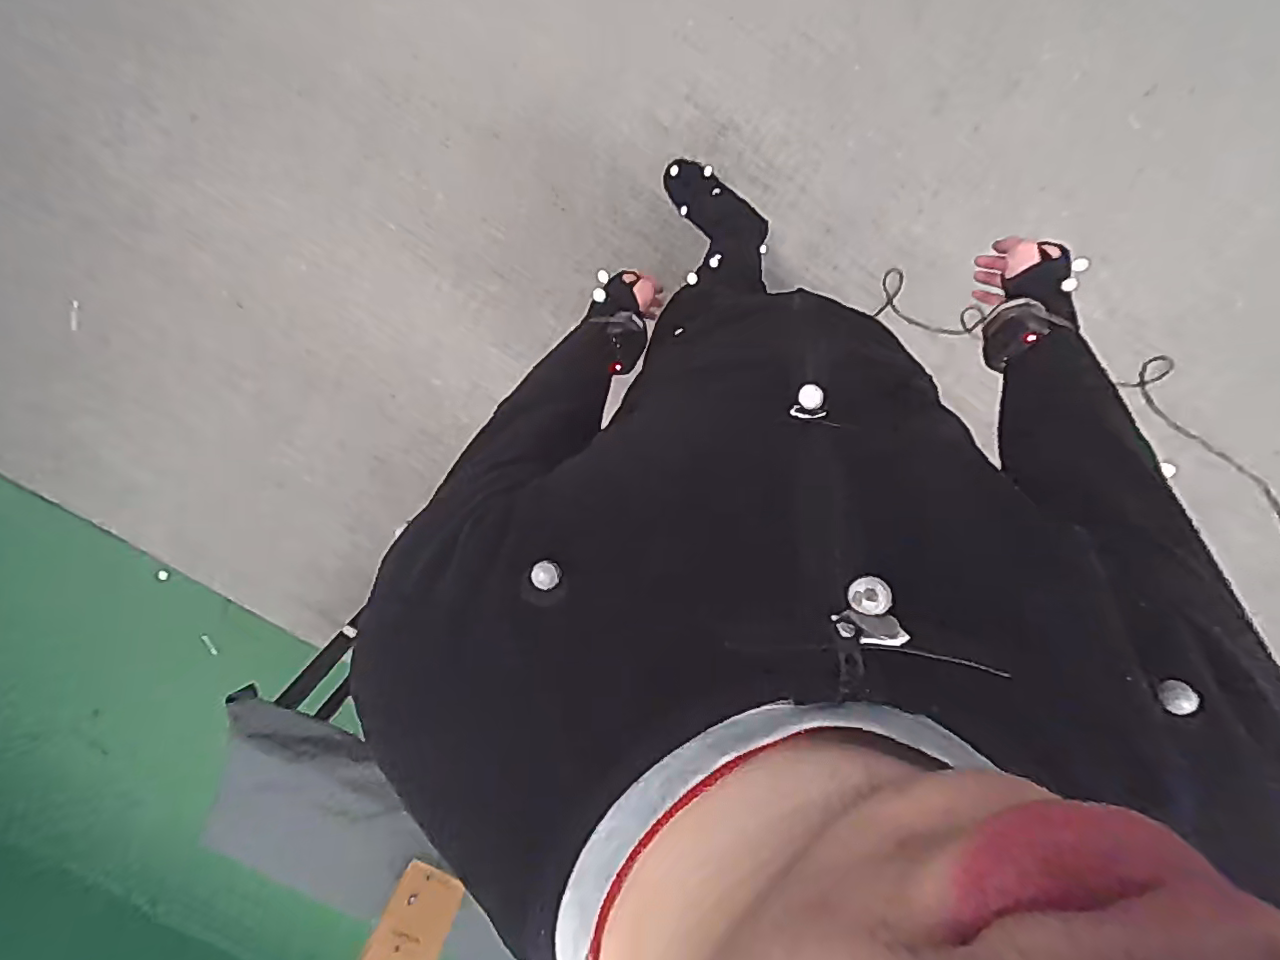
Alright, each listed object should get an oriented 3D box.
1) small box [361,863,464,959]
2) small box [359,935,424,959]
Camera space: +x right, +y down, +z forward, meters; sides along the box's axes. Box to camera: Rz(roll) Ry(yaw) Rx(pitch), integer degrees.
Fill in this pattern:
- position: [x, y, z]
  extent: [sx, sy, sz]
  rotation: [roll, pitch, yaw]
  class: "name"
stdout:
- position: [-0.591, 1.159, 1.425]
  extent: [0.168, 0.176, 0.179]
  rotation: [31, 118, -3]
  class: "small box"
- position: [-0.620, 1.233, 1.281]
  extent: [0.168, 0.176, 0.179]
  rotation: [32, 115, -4]
  class: "small box"
